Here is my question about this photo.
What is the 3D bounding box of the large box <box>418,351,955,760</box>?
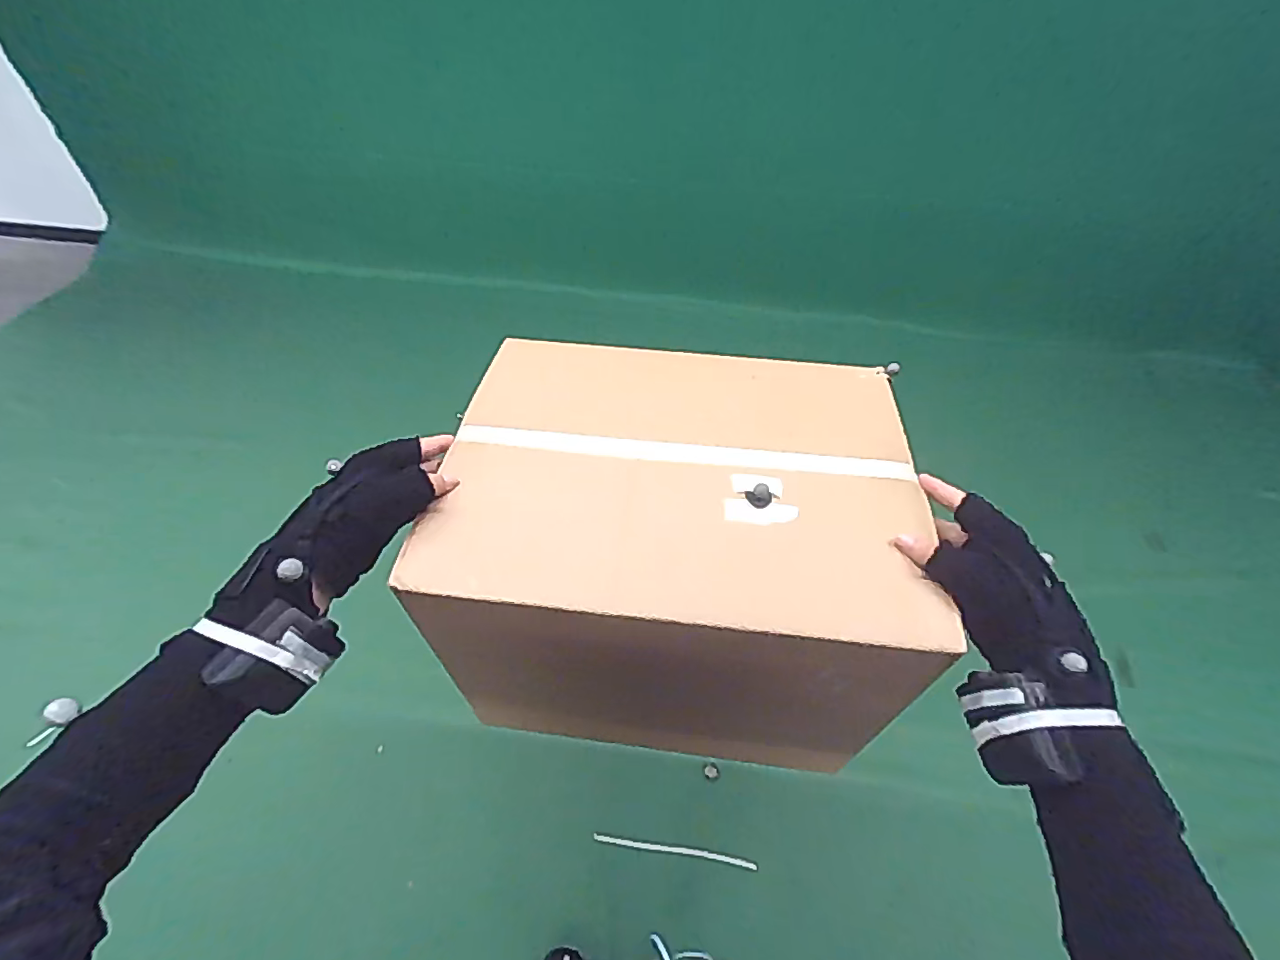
[{"bbox_3d":[0.039,0.085,0.600,0.408,0.320,0.320,6,49,3],"label":"large box"}]
